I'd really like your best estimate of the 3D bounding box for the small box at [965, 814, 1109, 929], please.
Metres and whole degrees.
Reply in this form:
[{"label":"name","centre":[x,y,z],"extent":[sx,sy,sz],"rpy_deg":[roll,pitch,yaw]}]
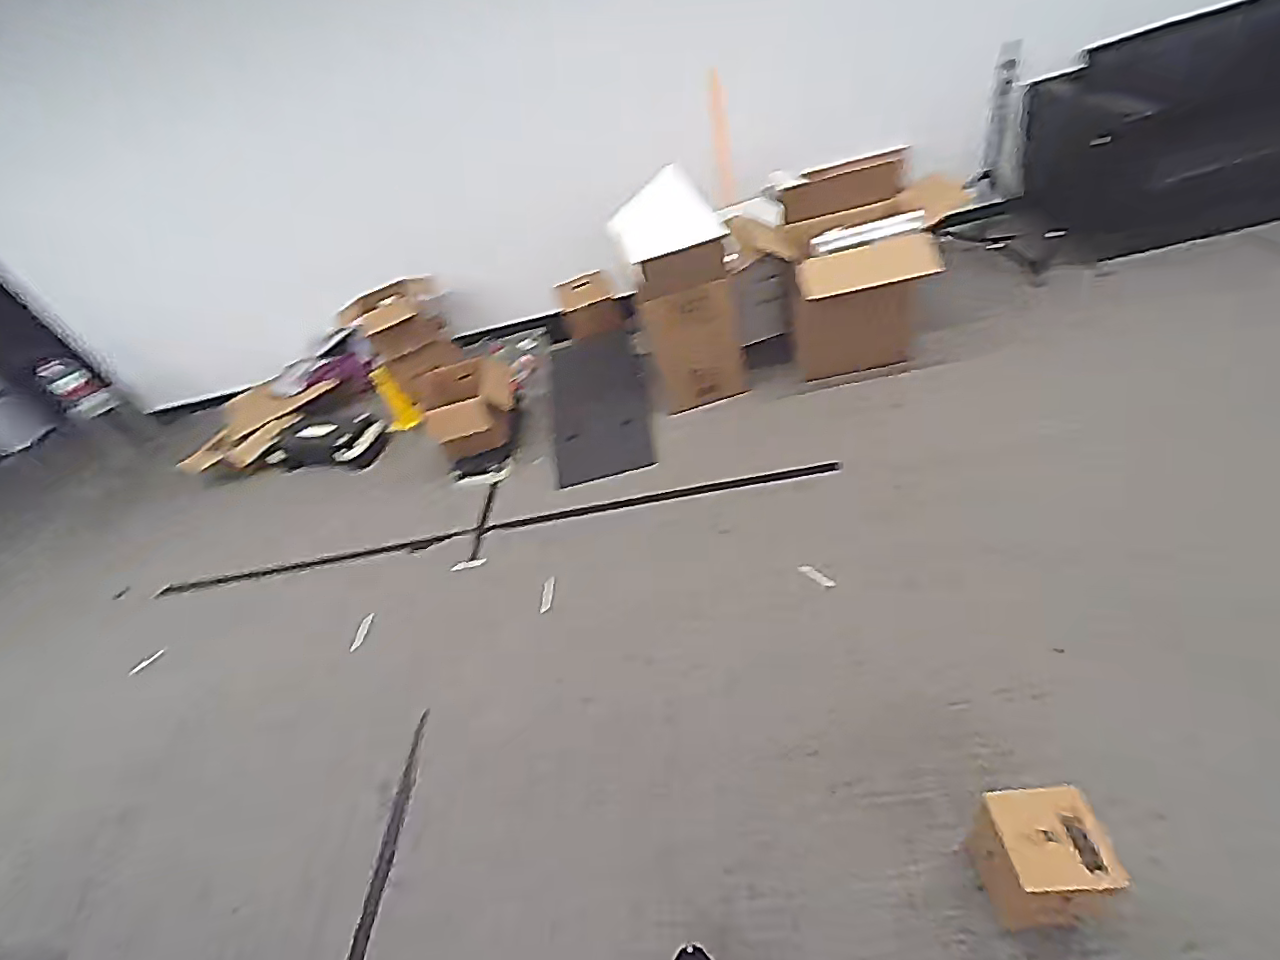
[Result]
[{"label":"small box","centre":[0.836,0.843,1.162],"extent":[0.179,0.176,0.168],"rpy_deg":[-11,41,8]}]
